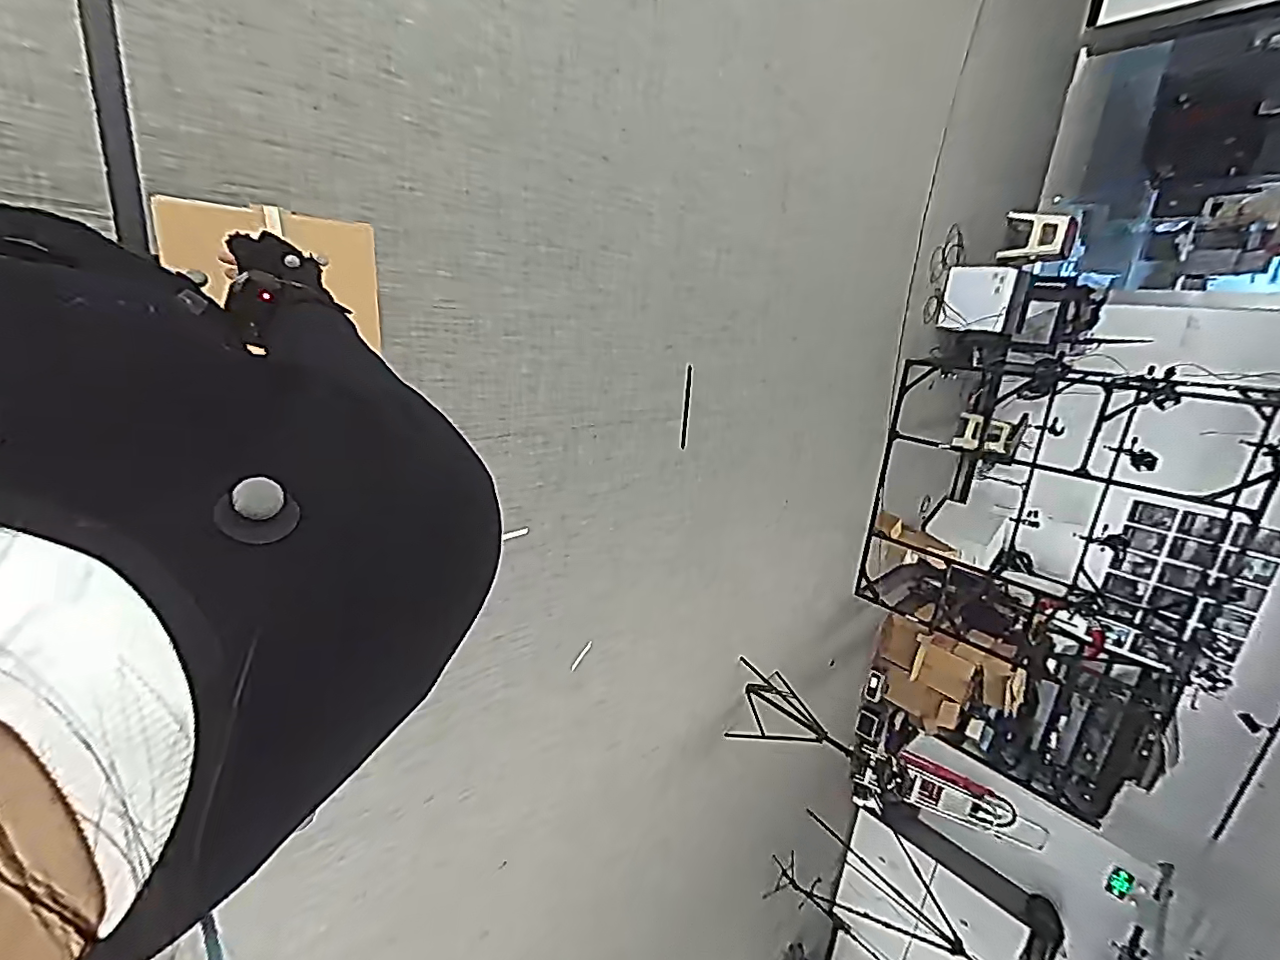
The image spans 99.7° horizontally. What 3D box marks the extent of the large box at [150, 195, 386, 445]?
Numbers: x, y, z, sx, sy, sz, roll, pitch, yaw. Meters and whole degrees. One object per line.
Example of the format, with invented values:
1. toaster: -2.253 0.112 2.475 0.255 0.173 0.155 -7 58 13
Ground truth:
1. large box: -0.724 -0.315 1.078 0.320 0.320 0.408 -8 113 -36
